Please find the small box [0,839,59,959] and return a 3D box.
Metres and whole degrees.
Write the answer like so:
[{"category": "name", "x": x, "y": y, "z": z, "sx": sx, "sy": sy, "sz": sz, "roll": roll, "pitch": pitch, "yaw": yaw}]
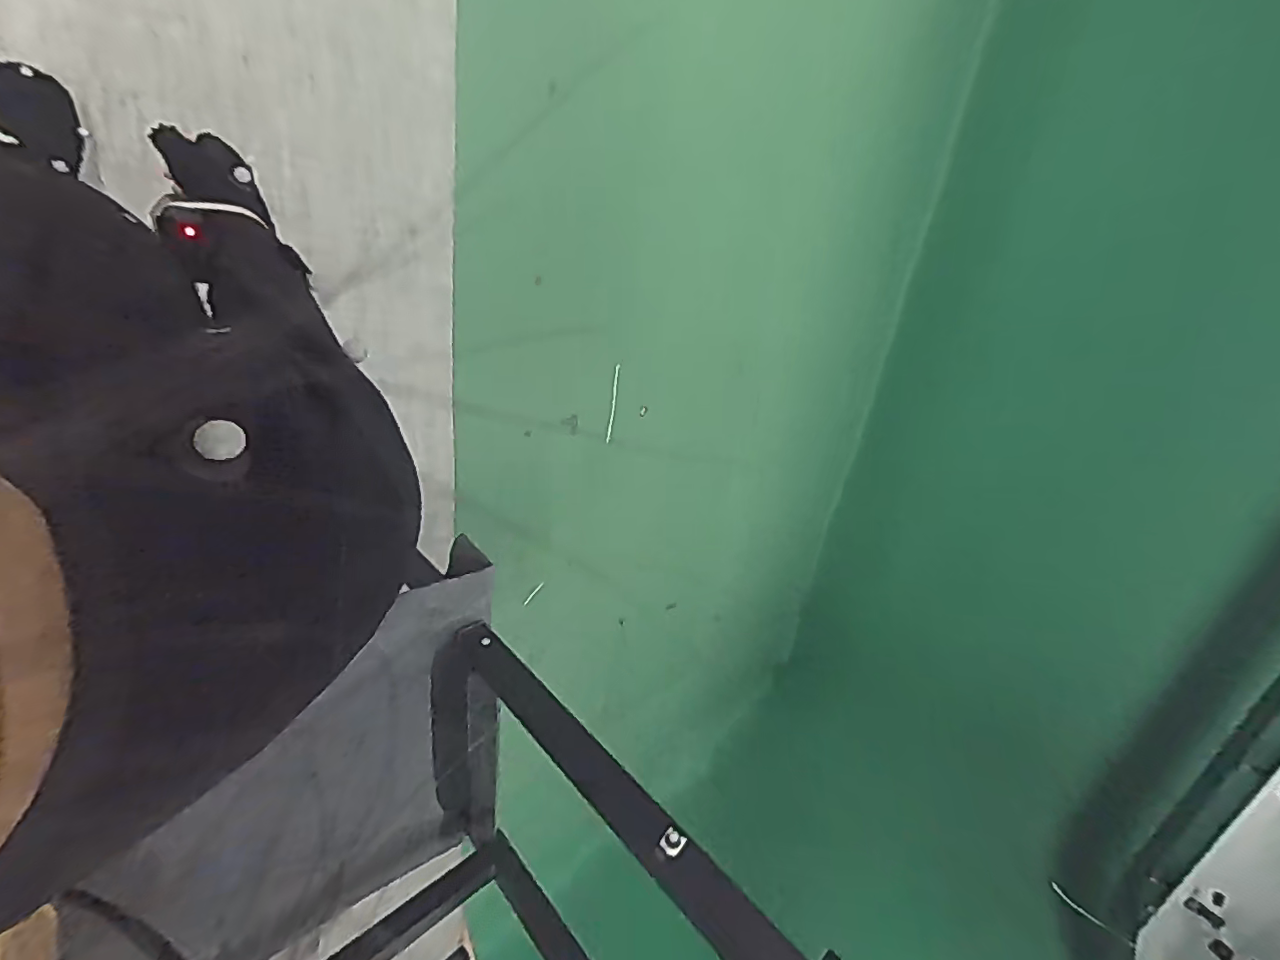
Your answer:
[{"category": "small box", "x": -0.750, "y": 0.532, "z": 0.567, "sx": 0.168, "sy": 0.176, "sz": 0.179, "roll": -19, "pitch": 126, "yaw": -42}]
